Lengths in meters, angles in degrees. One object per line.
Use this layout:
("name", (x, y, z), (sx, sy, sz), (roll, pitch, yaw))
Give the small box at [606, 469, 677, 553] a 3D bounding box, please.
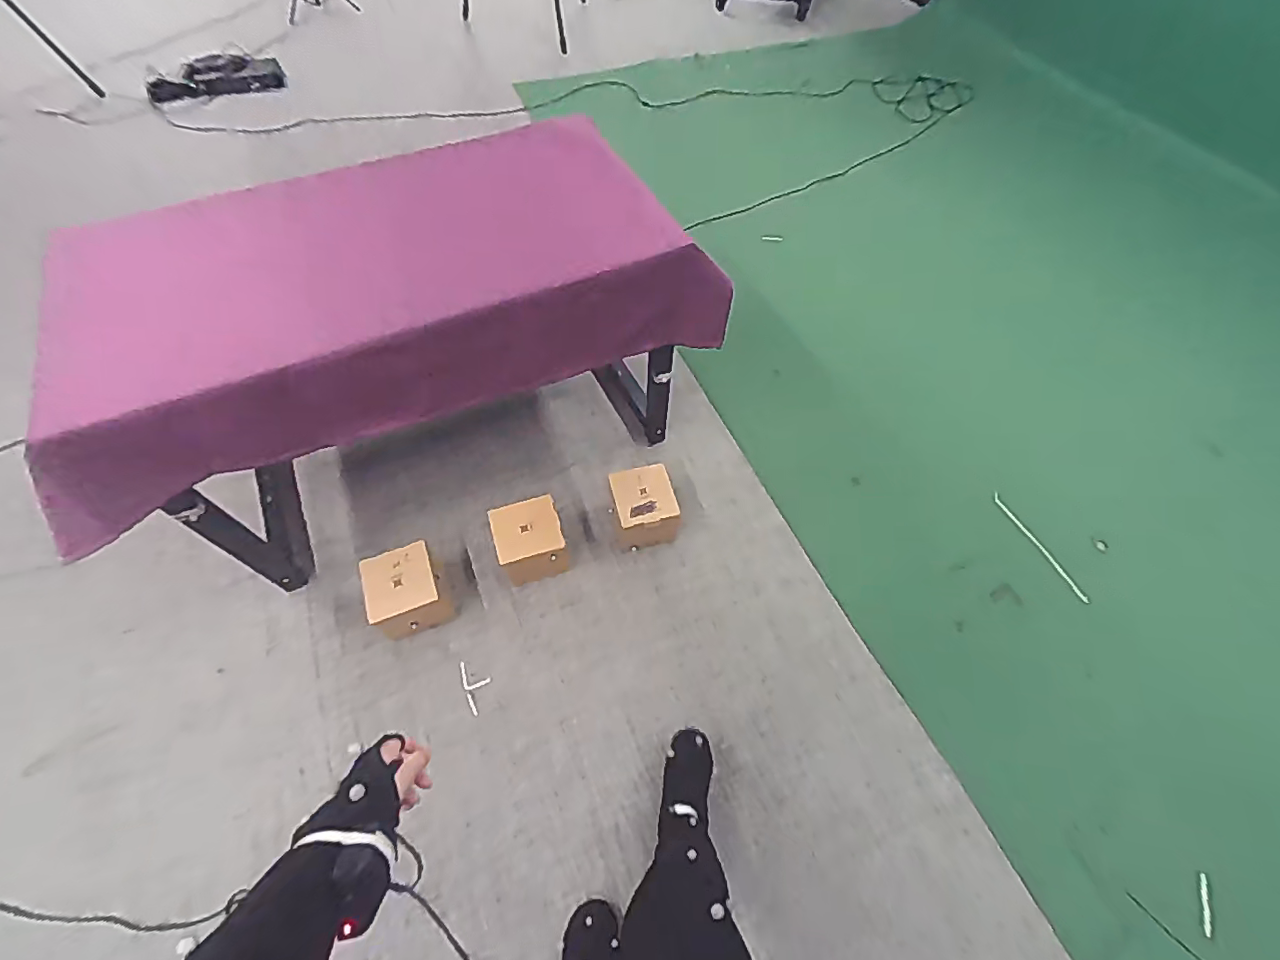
("small box", (0.001, 0.096, 1.554), (0.168, 0.176, 0.179), (-12, 58, -10))
